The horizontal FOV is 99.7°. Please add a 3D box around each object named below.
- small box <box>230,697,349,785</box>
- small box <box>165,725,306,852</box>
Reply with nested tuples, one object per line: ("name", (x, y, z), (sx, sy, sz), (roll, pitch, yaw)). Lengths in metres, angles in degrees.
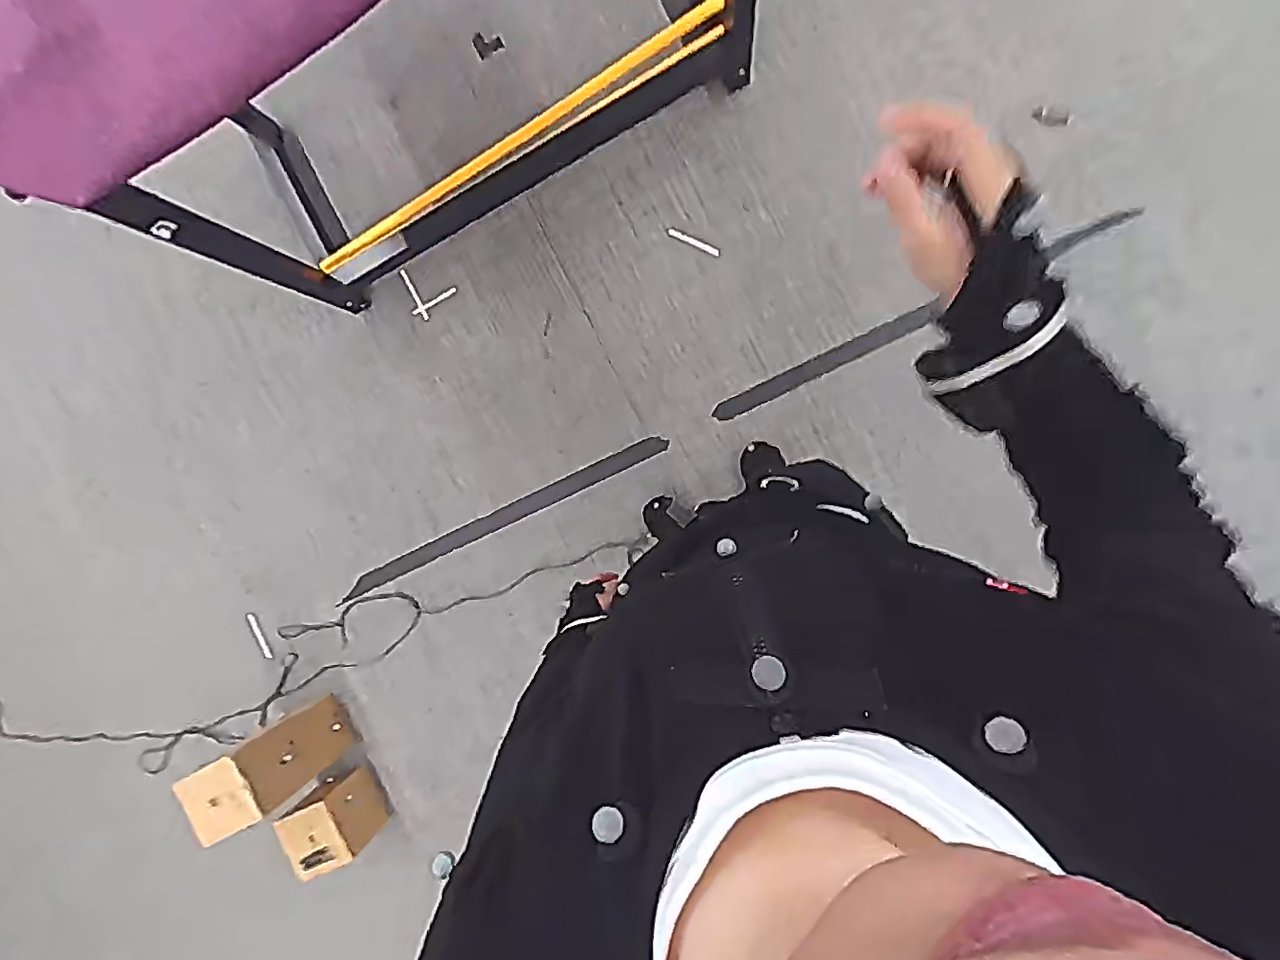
("small box", (-0.930, 0.717, 1.447), (0.179, 0.176, 0.168), (-26, 89, 6))
("small box", (-0.950, 0.723, 1.283), (0.179, 0.176, 0.168), (-28, 89, 7))
